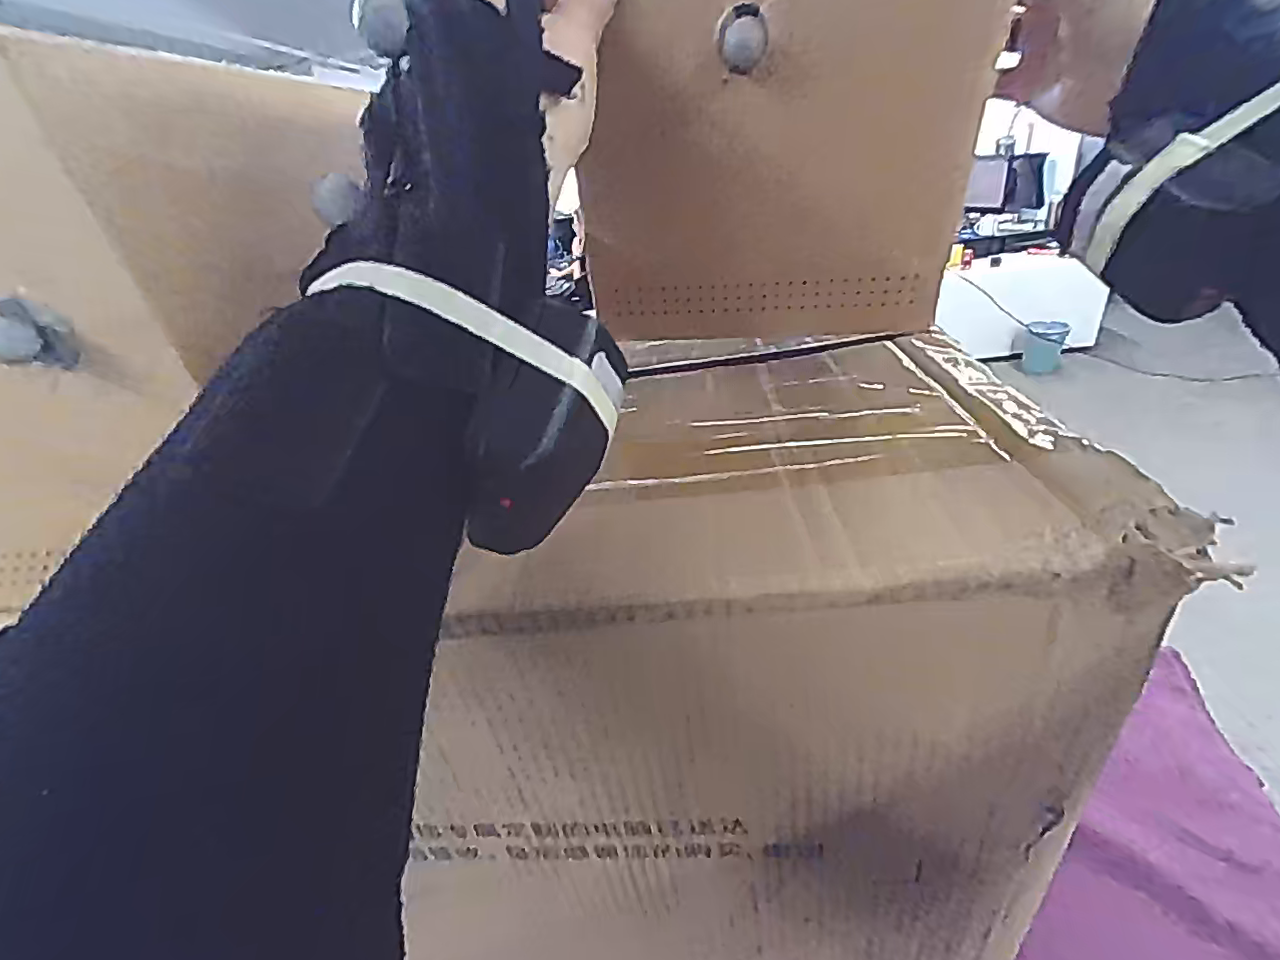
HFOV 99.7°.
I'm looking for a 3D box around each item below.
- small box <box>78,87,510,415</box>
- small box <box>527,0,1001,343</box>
[{"bbox_3d":[-0.206,-0.159,0.389,0.168,0.176,0.179,-5,30,8],"label":"small box"},{"bbox_3d":[0.063,-0.188,0.292,0.179,0.176,0.168,0,41,13],"label":"small box"}]
